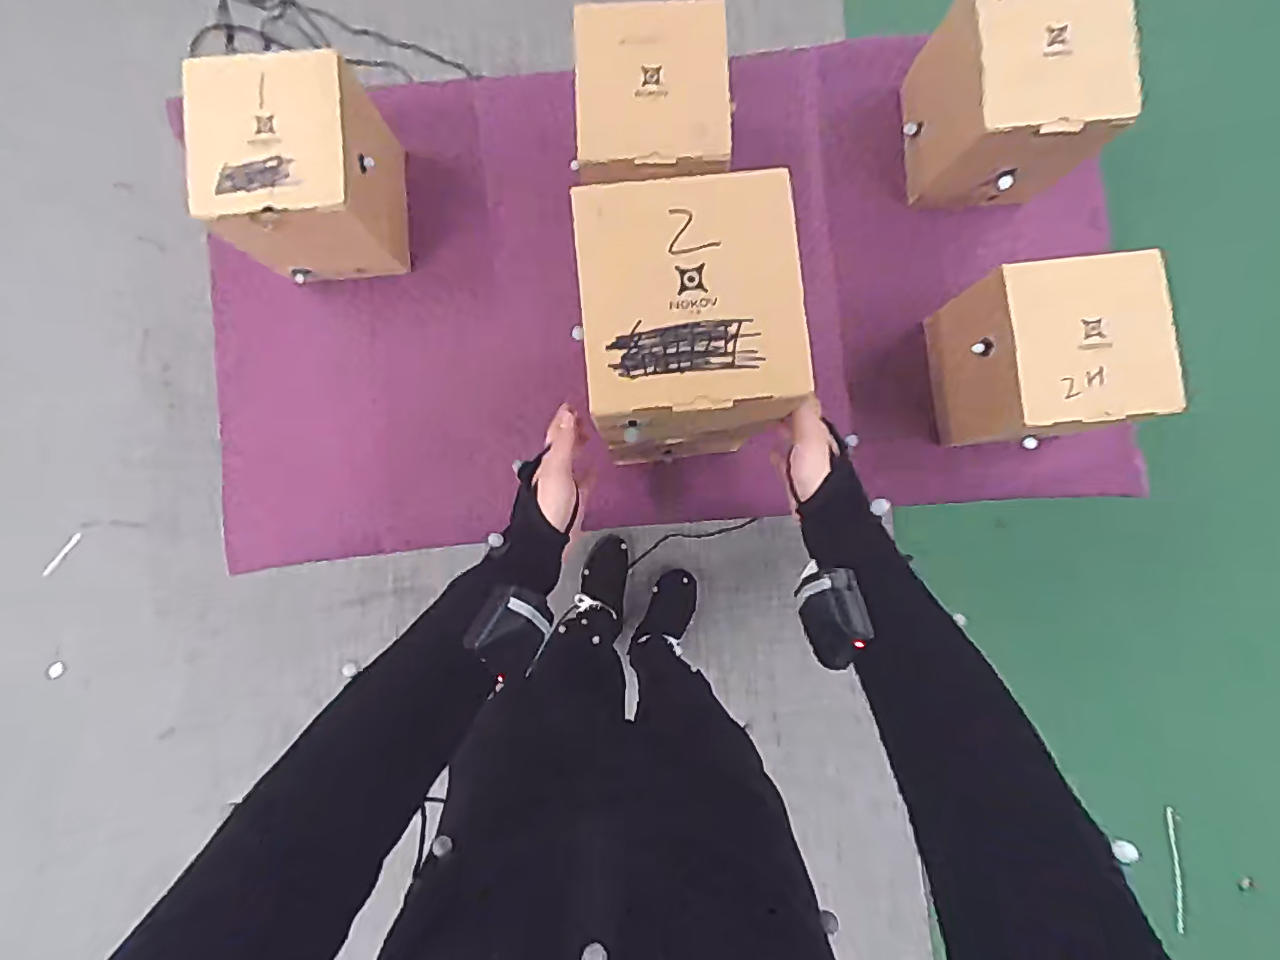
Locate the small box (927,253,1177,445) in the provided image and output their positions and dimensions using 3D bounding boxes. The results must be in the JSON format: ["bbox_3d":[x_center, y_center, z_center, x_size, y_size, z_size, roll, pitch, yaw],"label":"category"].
[{"bbox_3d":[0.467,-0.143,0.643,0.168,0.176,0.179,-5,87,1],"label":"small box"}]

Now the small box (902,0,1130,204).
[{"bbox_3d":[0.440,-0.457,0.659,0.168,0.176,0.179,-3,90,0],"label":"small box"}]

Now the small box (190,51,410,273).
[{"bbox_3d":[-0.394,-0.365,0.655,0.168,0.176,0.179,-4,87,-1],"label":"small box"}]

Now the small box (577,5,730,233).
[{"bbox_3d":[0.015,-0.422,0.661,0.168,0.176,0.179,-2,88,-1],"label":"small box"}]

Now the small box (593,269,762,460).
[{"bbox_3d":[0.037,-0.125,0.647,0.168,0.176,0.179,-7,87,-1],"label":"small box"}]
